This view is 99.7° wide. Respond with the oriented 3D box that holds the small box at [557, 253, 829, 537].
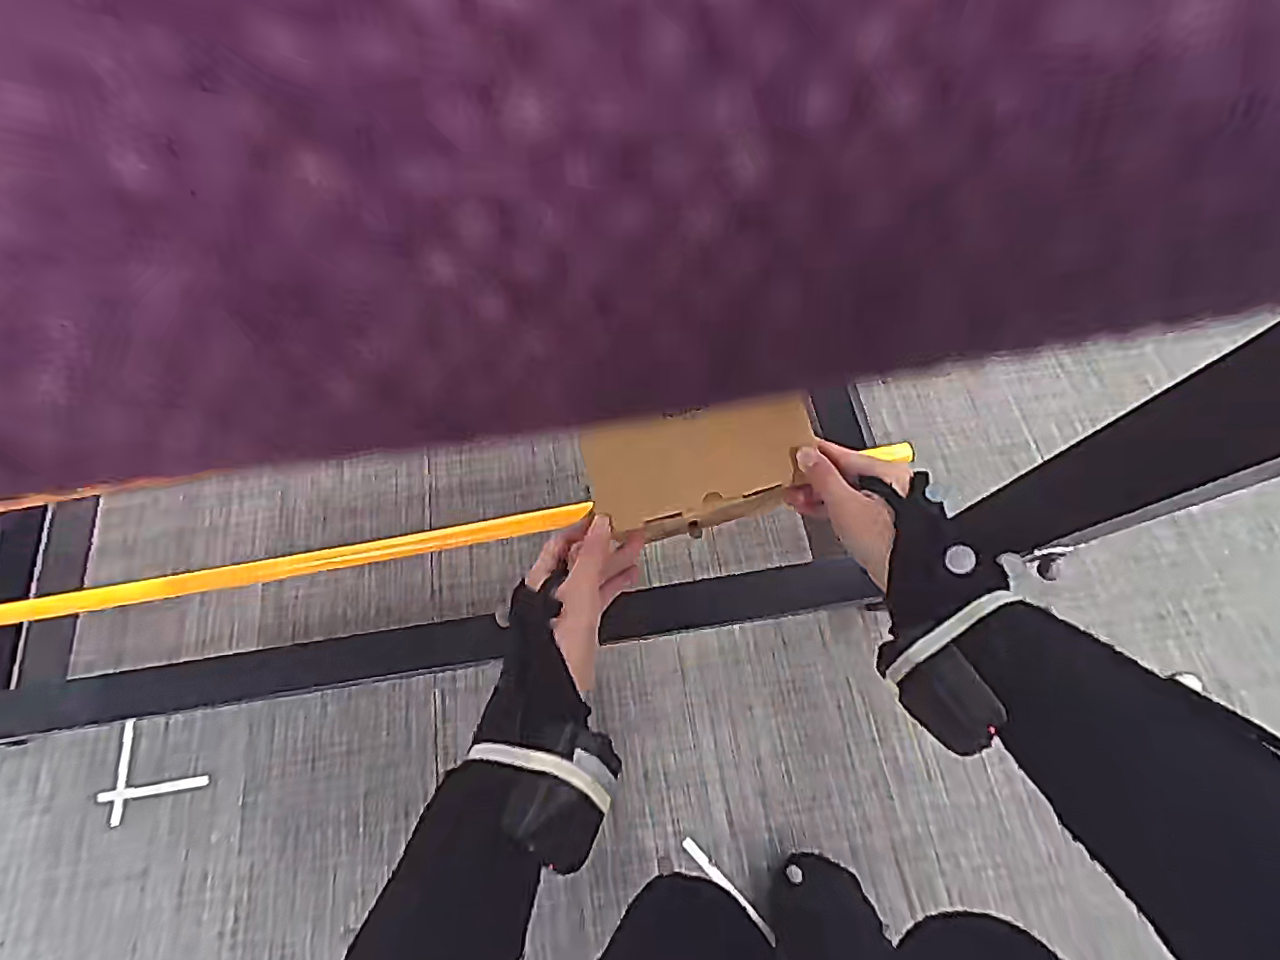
[{"bbox_3d":[0.039,-0.057,0.473,0.168,0.176,0.179,-15,80,2],"label":"small box"}]
